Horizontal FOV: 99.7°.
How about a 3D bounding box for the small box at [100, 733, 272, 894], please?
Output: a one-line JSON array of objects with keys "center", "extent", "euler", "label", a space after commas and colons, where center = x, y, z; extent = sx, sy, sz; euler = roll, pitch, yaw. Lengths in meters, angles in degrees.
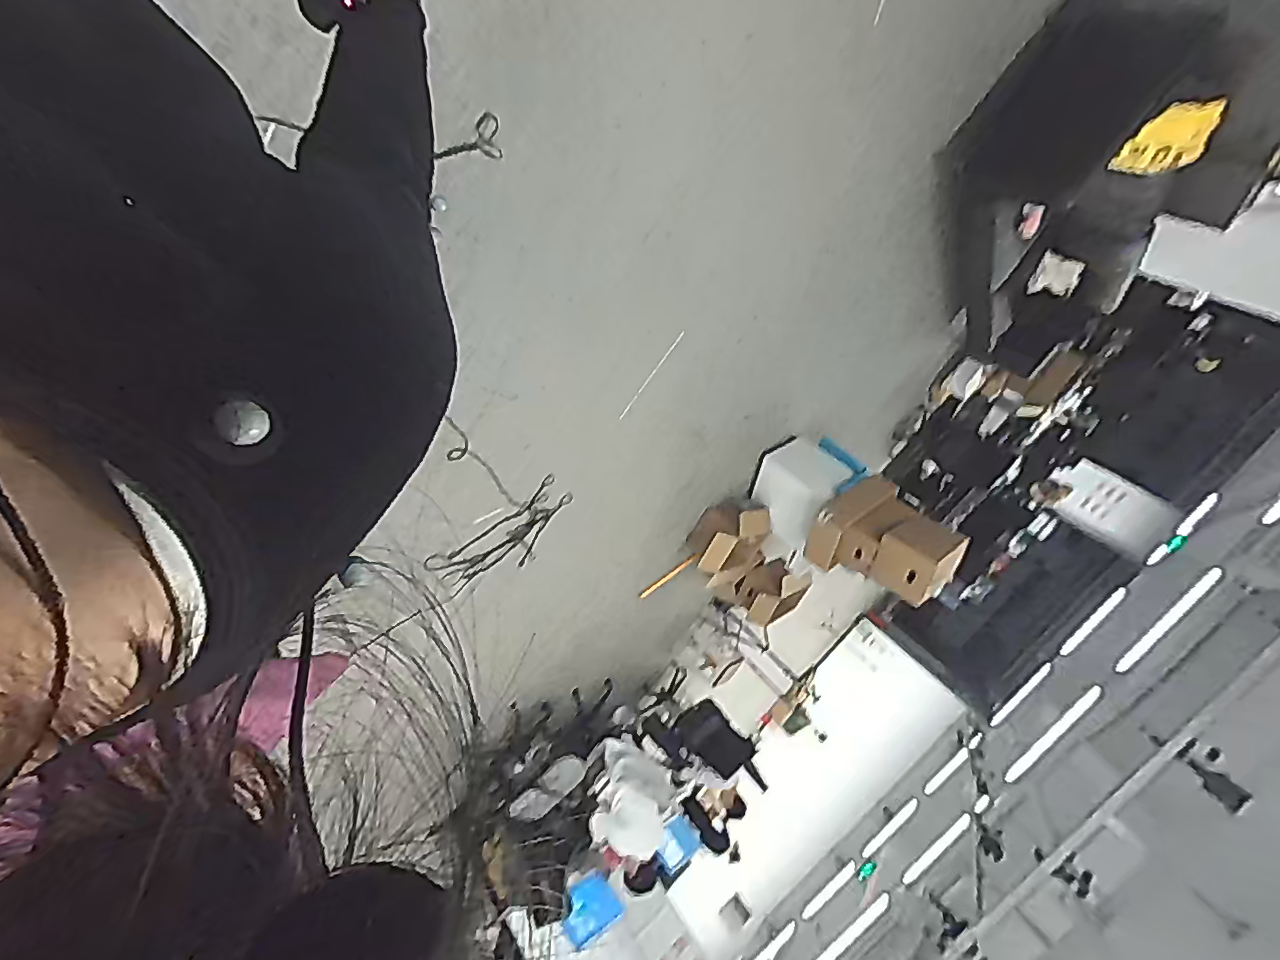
[{"center": [-0.817, 0.577, 0.969], "extent": [0.179, 0.176, 0.168], "euler": [-48, 148, 1], "label": "small box"}]
